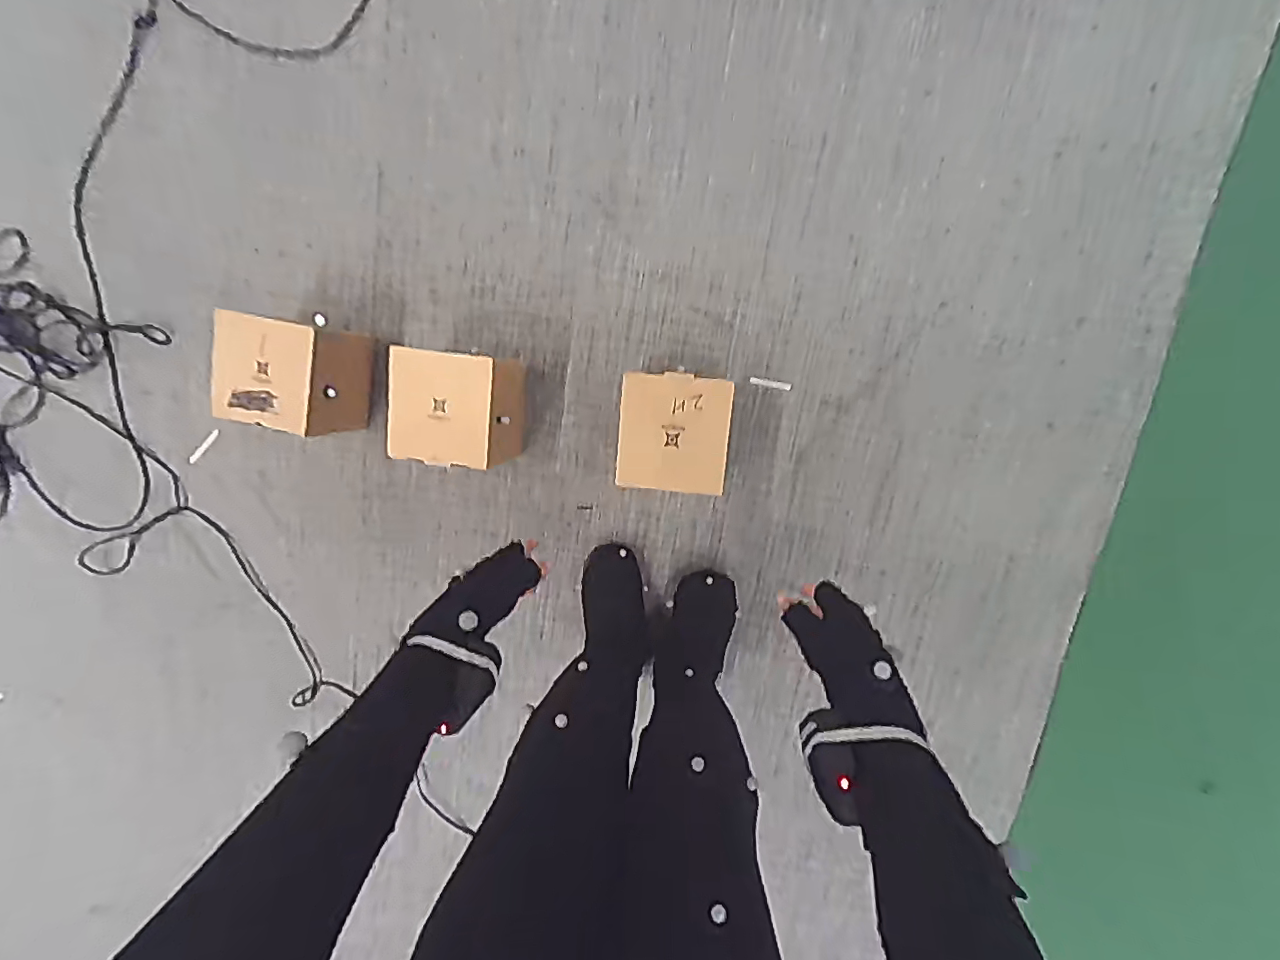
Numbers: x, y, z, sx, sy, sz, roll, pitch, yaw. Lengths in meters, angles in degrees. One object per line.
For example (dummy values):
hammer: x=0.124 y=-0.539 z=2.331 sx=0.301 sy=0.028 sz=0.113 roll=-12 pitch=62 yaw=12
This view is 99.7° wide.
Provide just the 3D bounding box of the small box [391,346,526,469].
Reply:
small box: x=-0.300 y=-0.127 z=0.920 sx=0.168 sy=0.176 sz=0.179 roll=7 pitch=102 yaw=4

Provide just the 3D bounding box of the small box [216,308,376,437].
small box: x=-0.585 y=-0.183 z=0.937 sx=0.168 sy=0.176 sz=0.179 roll=12 pitch=100 yaw=3

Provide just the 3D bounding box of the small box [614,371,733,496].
small box: x=0.056 y=-0.084 z=0.891 sx=0.168 sy=0.176 sz=0.179 roll=6 pitch=101 yaw=4
